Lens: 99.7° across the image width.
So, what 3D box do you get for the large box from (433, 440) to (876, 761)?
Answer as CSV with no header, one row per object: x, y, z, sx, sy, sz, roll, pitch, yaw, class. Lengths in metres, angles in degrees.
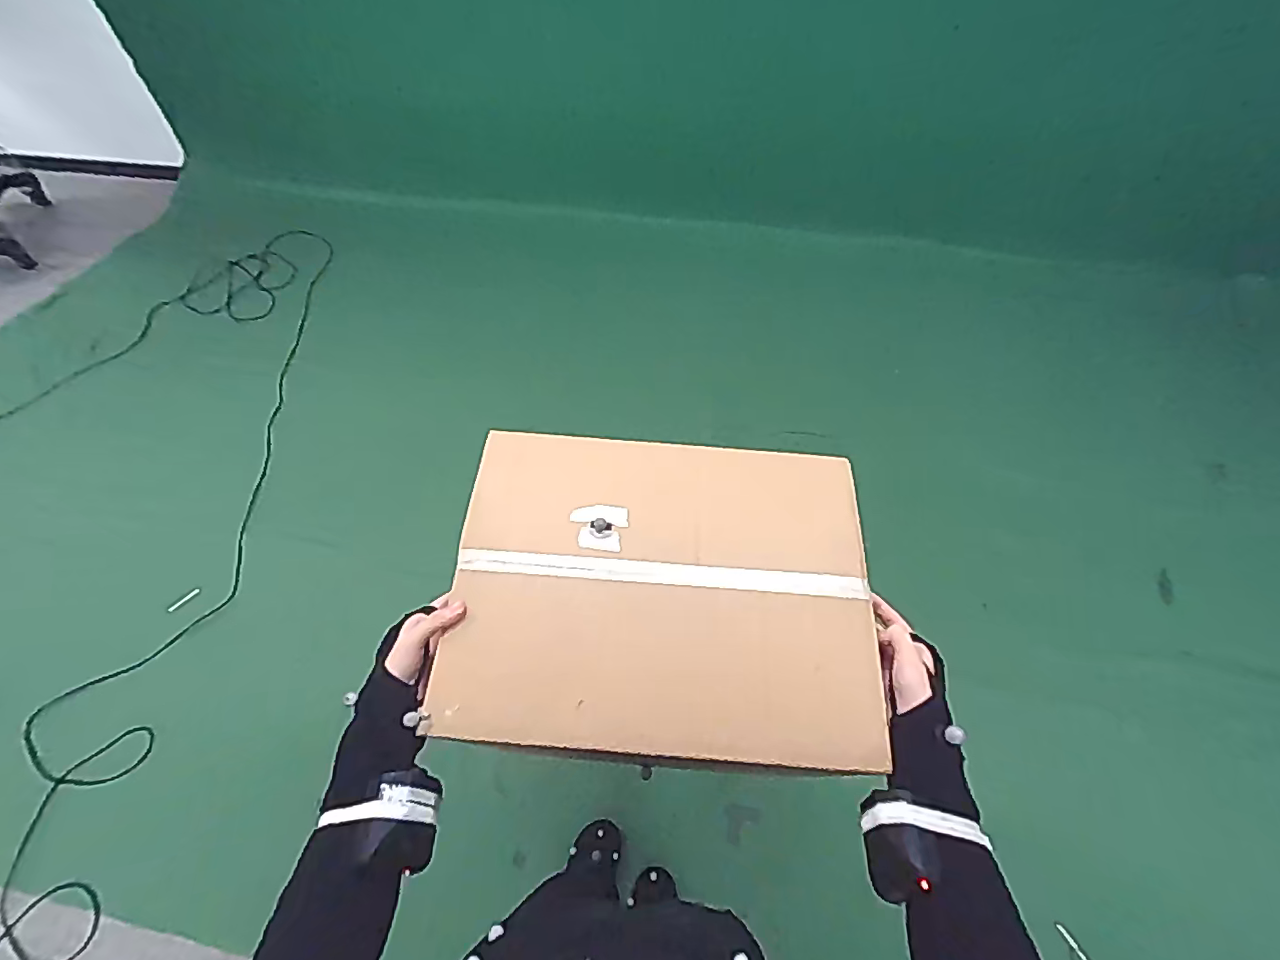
0.020,0.169,0.679,0.408,0.320,0.320,4,61,1,large box
